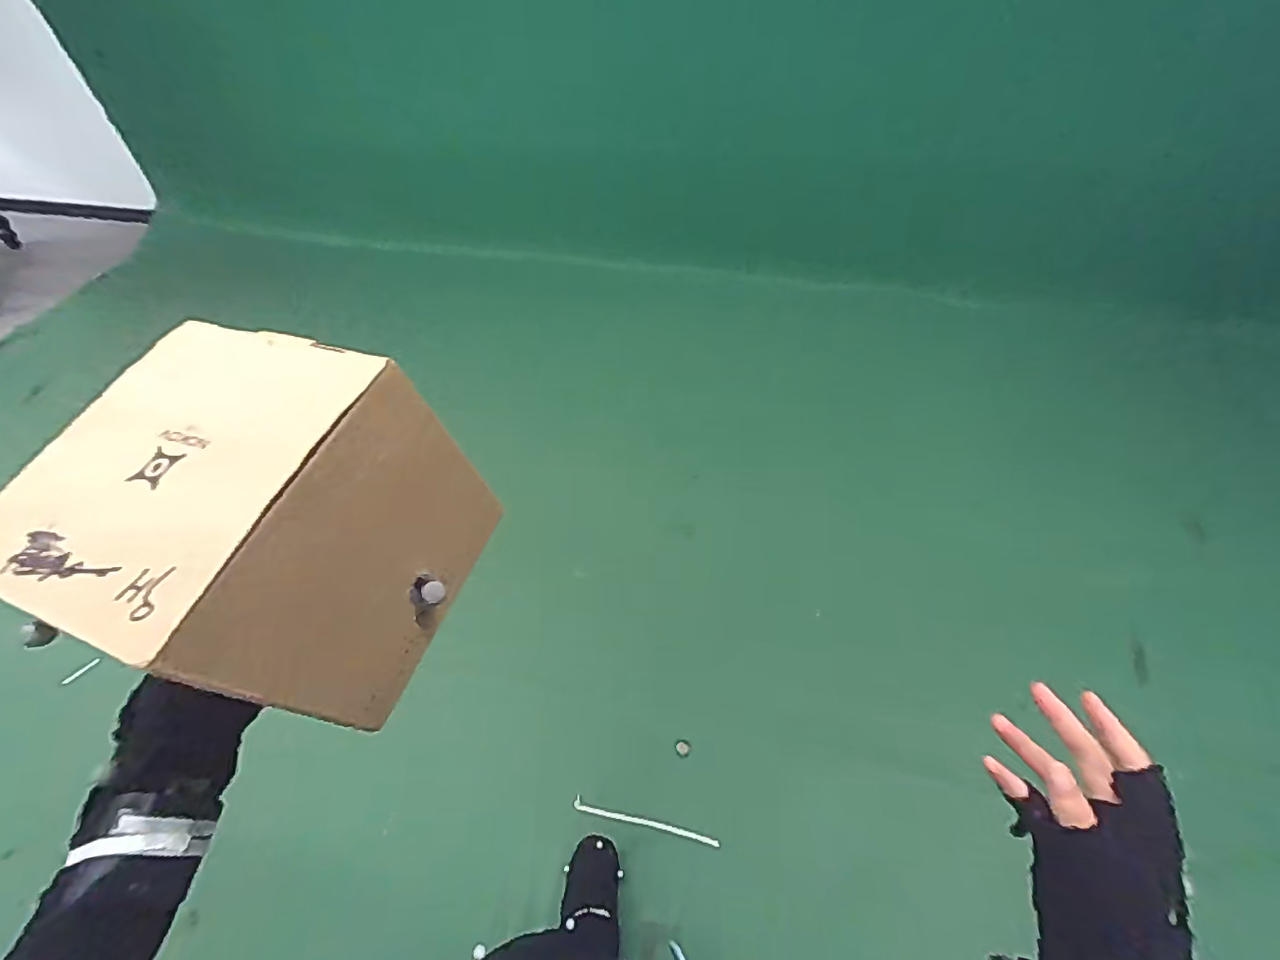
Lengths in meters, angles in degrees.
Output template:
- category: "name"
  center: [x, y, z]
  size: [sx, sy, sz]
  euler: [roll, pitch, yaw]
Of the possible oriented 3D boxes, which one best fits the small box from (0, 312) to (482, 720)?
- category: "small box"
  center: [-0.225, 0.025, 0.341]
  size: [0.168, 0.176, 0.179]
  euler: [13, 60, 20]
